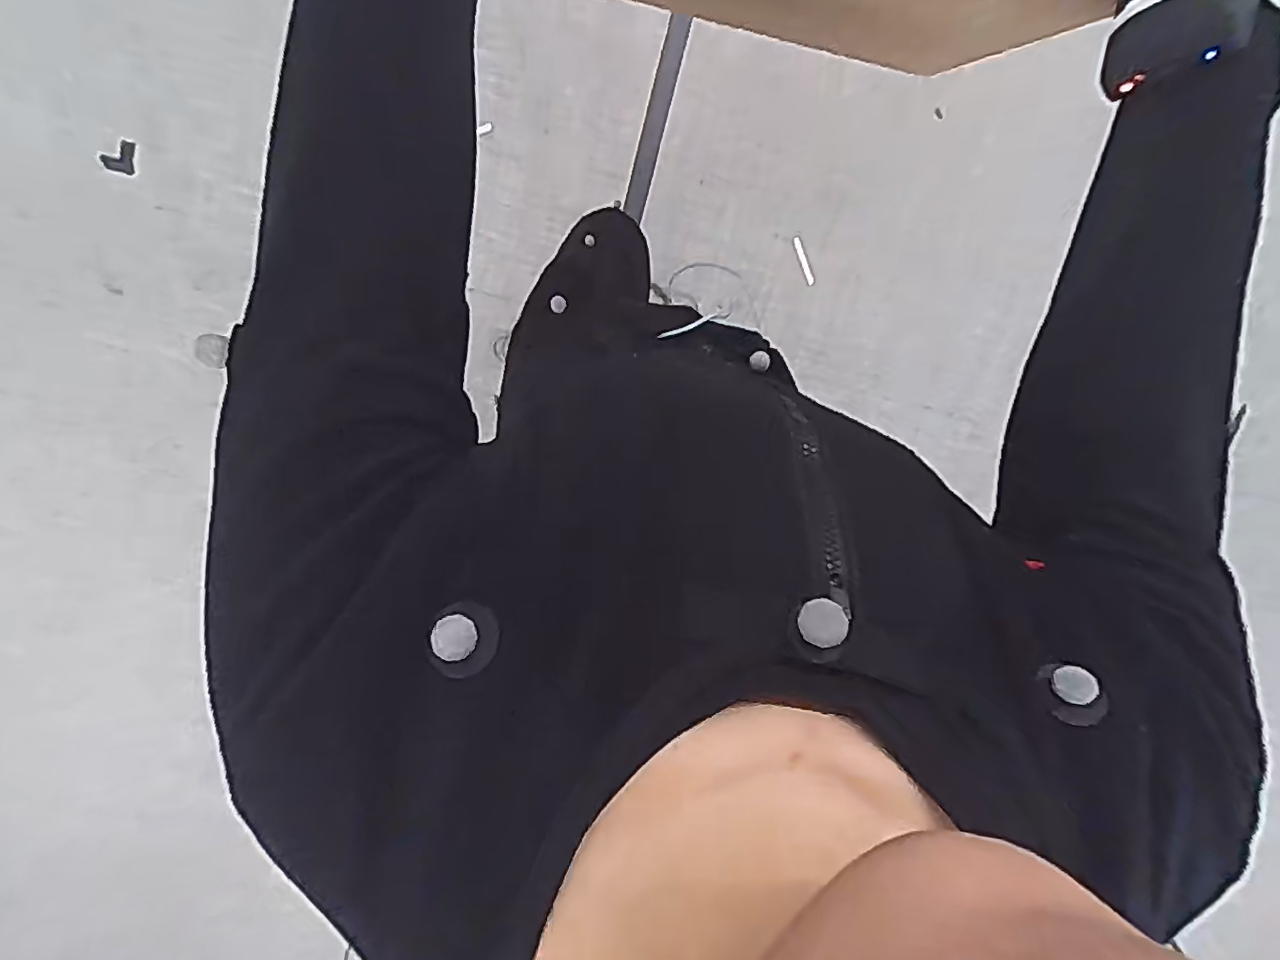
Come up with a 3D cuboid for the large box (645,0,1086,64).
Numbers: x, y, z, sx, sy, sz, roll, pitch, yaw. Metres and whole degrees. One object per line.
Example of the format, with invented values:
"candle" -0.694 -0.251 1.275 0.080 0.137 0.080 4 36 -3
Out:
"large box" 0.156 -0.557 0.394 0.408 0.320 0.320 11 121 -5
